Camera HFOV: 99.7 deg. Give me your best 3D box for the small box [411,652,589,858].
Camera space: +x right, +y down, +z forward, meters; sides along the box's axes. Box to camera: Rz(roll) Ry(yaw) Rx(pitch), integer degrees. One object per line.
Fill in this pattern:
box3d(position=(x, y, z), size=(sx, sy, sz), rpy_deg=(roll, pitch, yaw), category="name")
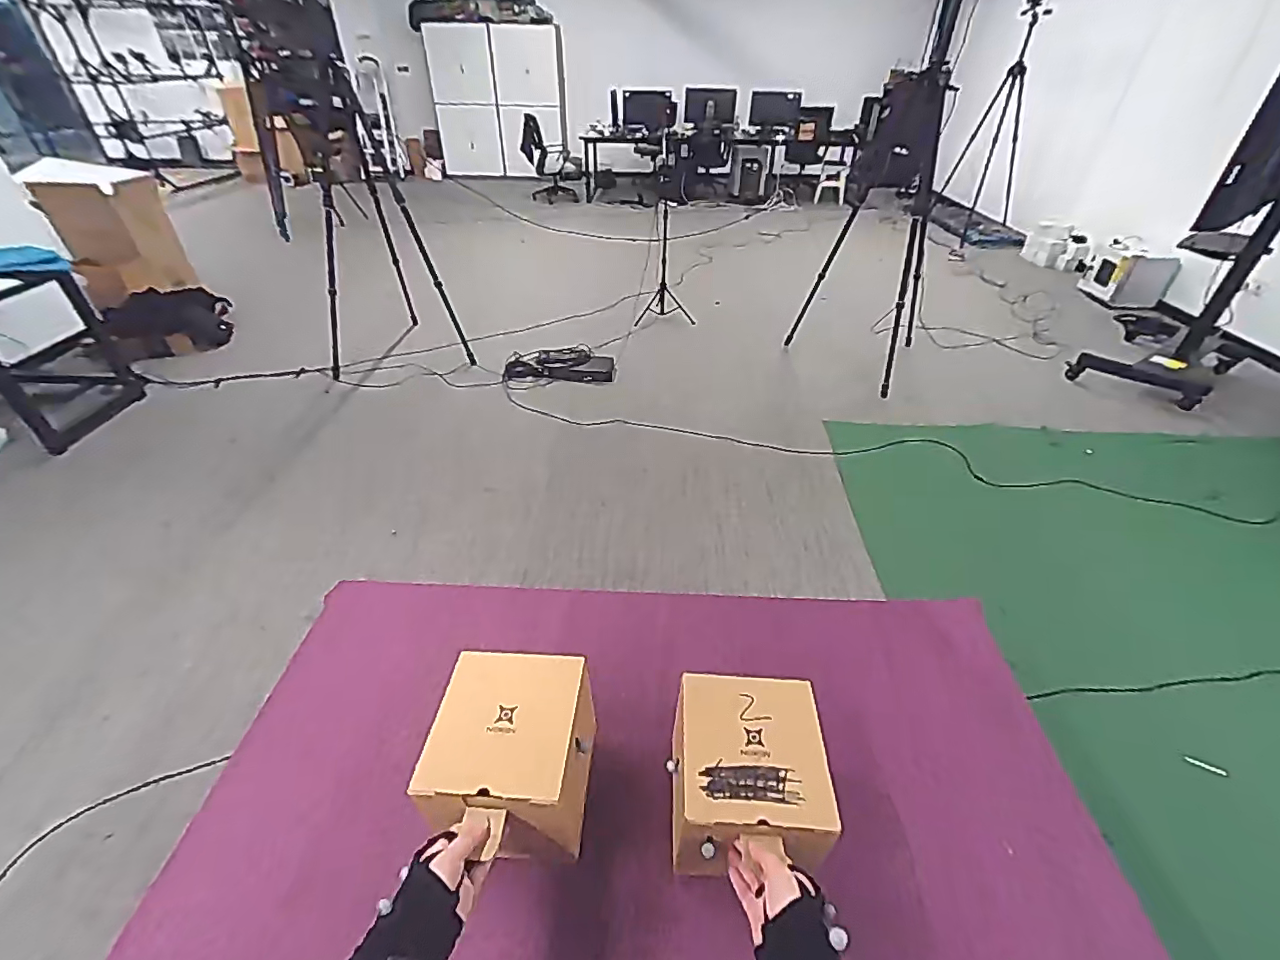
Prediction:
box3d(position=(-0.160, 0.347, 0.691), size=(0.168, 0.176, 0.179), rpy_deg=(2, 39, 4), category="small box")
